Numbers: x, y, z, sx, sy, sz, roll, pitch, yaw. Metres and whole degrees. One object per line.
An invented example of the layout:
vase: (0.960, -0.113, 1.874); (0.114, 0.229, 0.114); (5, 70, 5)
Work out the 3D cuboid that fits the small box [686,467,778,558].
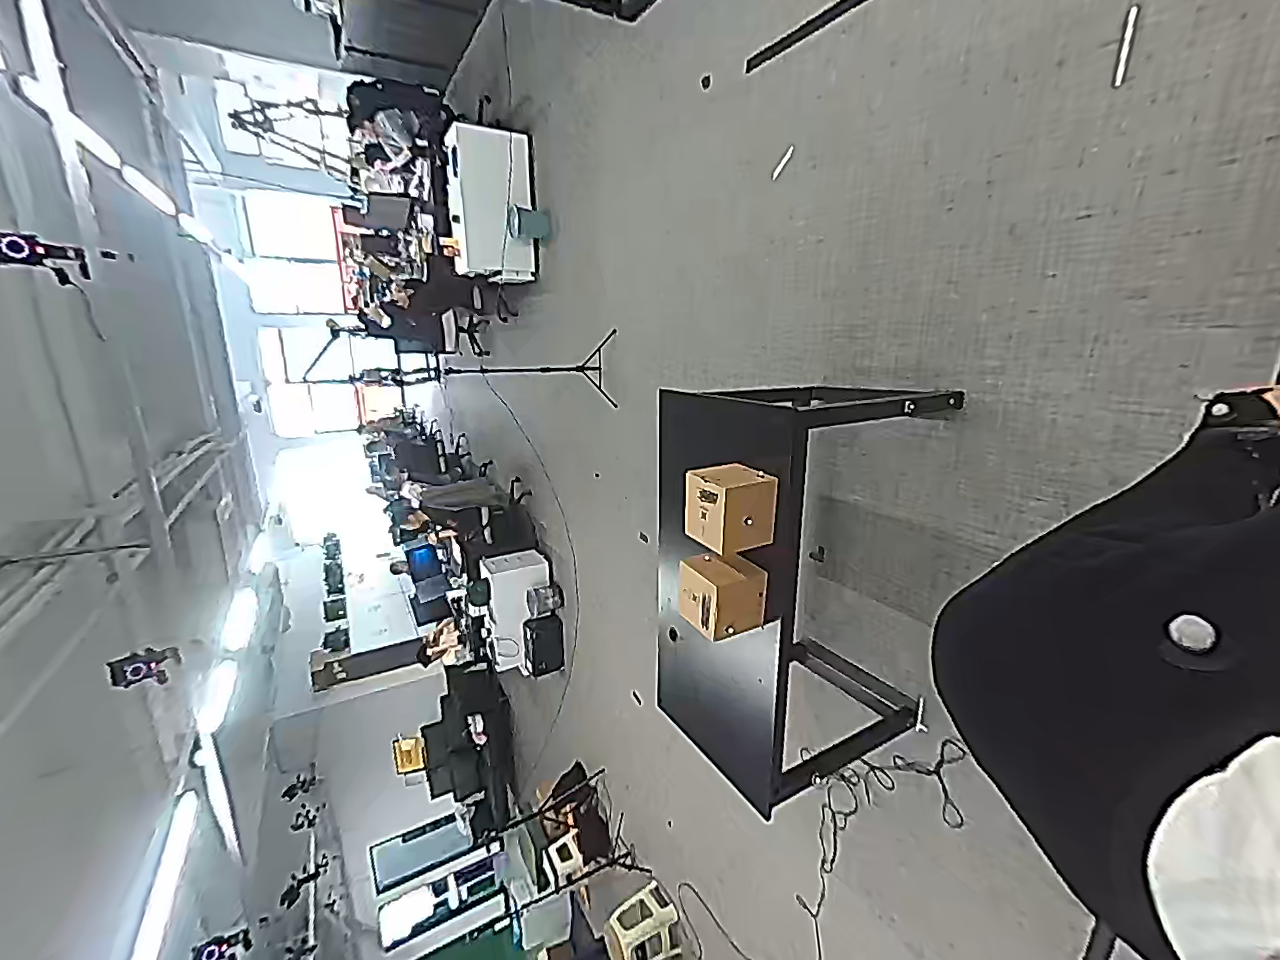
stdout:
small box: (0.235, 0.074, 1.388); (0.168, 0.176, 0.179); (28, 123, 57)
